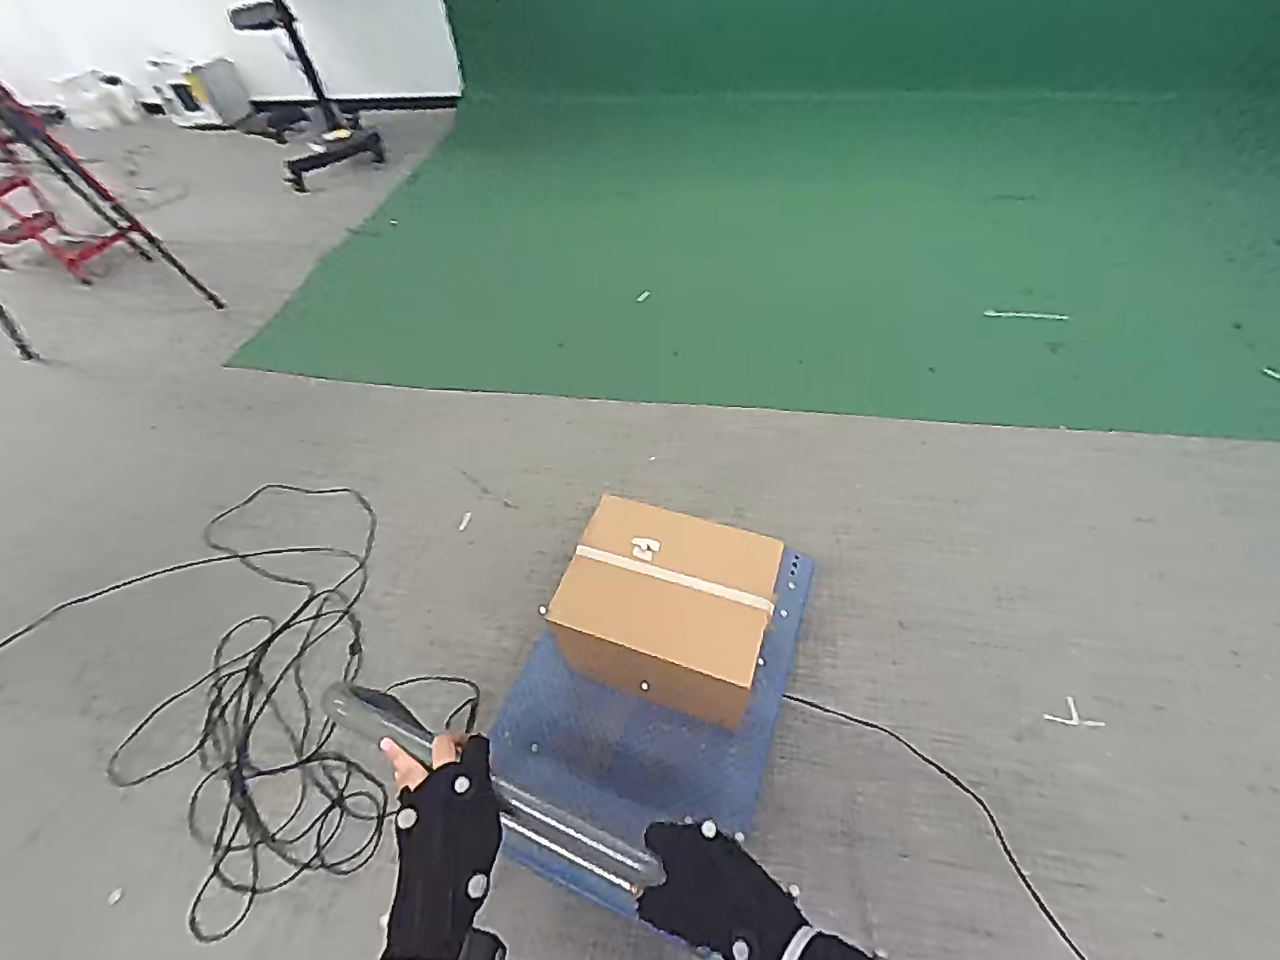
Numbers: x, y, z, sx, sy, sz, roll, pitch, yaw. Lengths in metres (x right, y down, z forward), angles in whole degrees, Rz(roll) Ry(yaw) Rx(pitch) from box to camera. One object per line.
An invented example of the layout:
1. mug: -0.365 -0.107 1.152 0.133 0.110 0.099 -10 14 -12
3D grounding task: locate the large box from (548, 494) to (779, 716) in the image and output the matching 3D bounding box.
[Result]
1. large box: 0.068 0.277 1.200 0.408 0.320 0.320 13 54 16
